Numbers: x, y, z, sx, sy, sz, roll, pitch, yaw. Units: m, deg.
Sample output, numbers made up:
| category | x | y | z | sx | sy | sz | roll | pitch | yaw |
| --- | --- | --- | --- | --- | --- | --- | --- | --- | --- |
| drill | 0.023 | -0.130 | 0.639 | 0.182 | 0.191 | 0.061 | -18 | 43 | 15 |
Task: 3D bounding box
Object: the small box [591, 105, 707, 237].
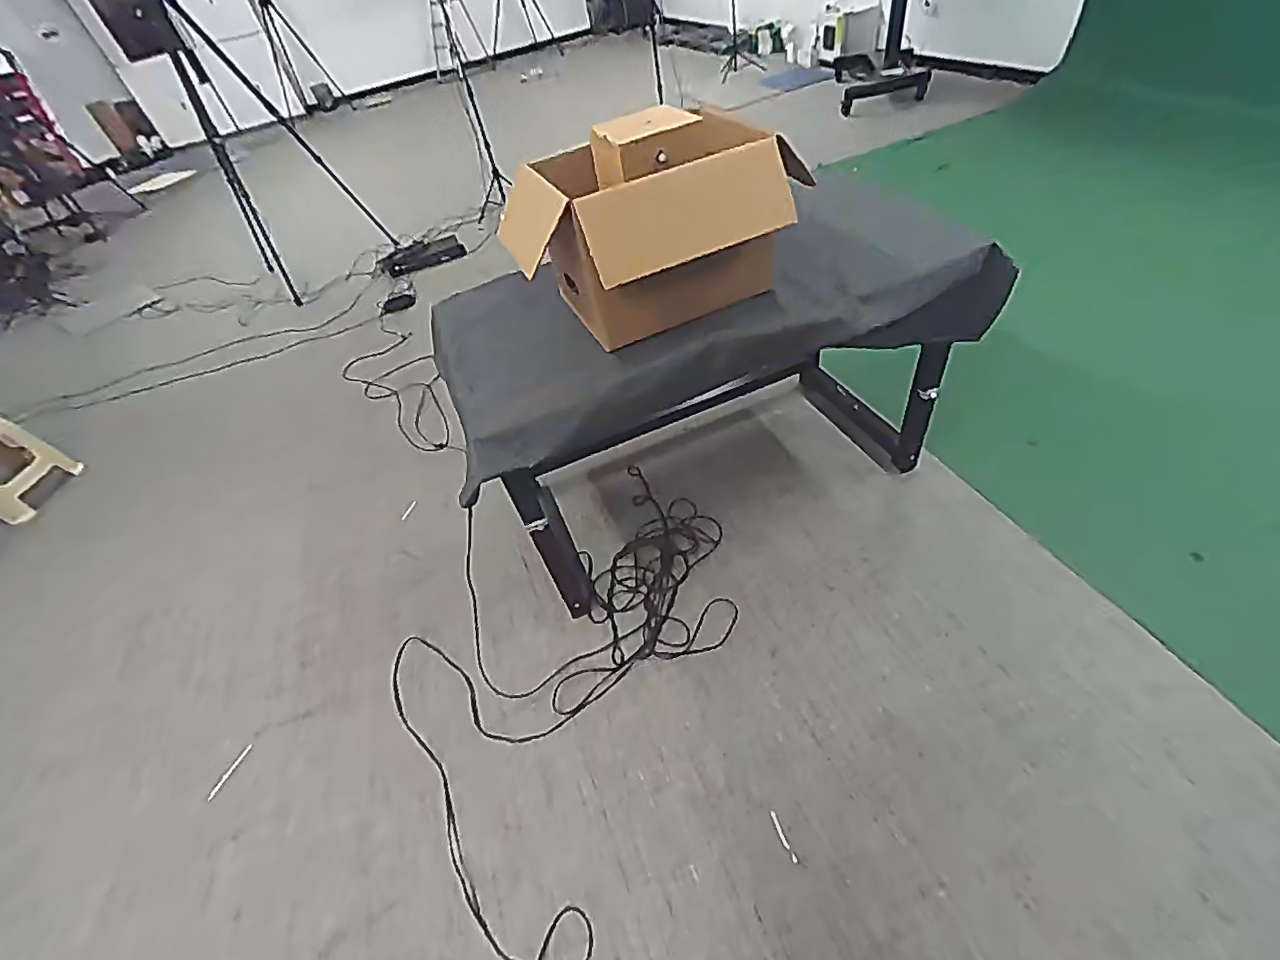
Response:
| category | x | y | z | sx | sy | sz | roll | pitch | yaw |
| --- | --- | --- | --- | --- | --- | --- | --- | --- | --- |
| small box | 0.022 | -0.616 | 1.078 | 0.179 | 0.176 | 0.168 | -23 | 47 | -10 |
